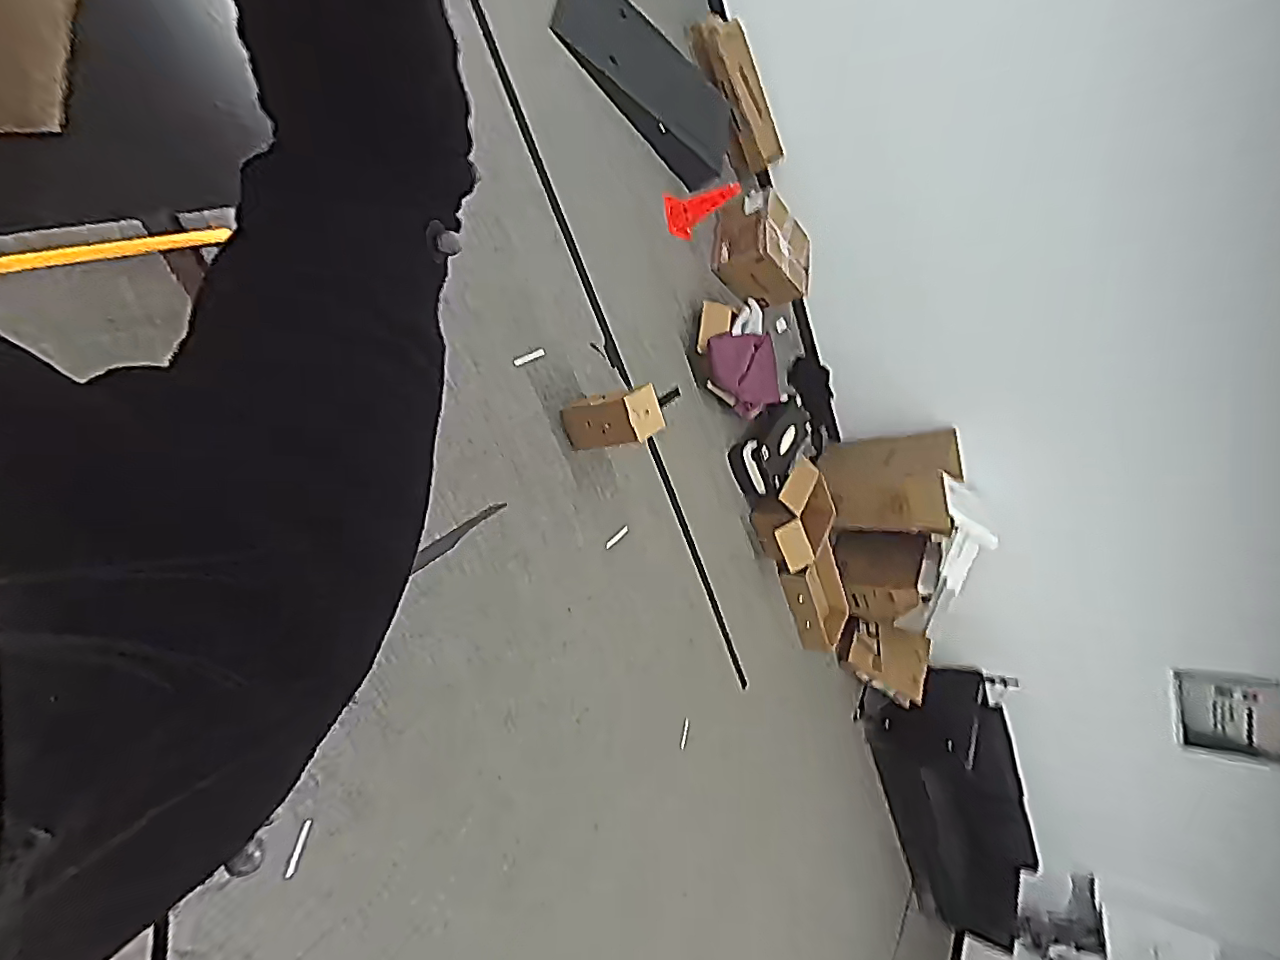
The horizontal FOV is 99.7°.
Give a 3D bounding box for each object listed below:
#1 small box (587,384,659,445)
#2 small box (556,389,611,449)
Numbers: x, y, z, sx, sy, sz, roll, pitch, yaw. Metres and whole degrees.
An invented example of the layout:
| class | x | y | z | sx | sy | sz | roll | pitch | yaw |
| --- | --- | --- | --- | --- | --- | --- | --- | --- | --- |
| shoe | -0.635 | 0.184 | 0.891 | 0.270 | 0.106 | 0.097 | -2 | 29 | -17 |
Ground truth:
| class | x | y | z | sx | sy | sz | roll | pitch | yaw |
| --- | --- | --- | --- | --- | --- | --- | --- | --- | --- |
| small box | -0.064 | -0.239 | 1.974 | 0.179 | 0.176 | 0.168 | -36 | 113 | -45 |
| small box | -0.194 | -0.232 | 2.075 | 0.168 | 0.176 | 0.179 | -36 | 113 | -45 |
